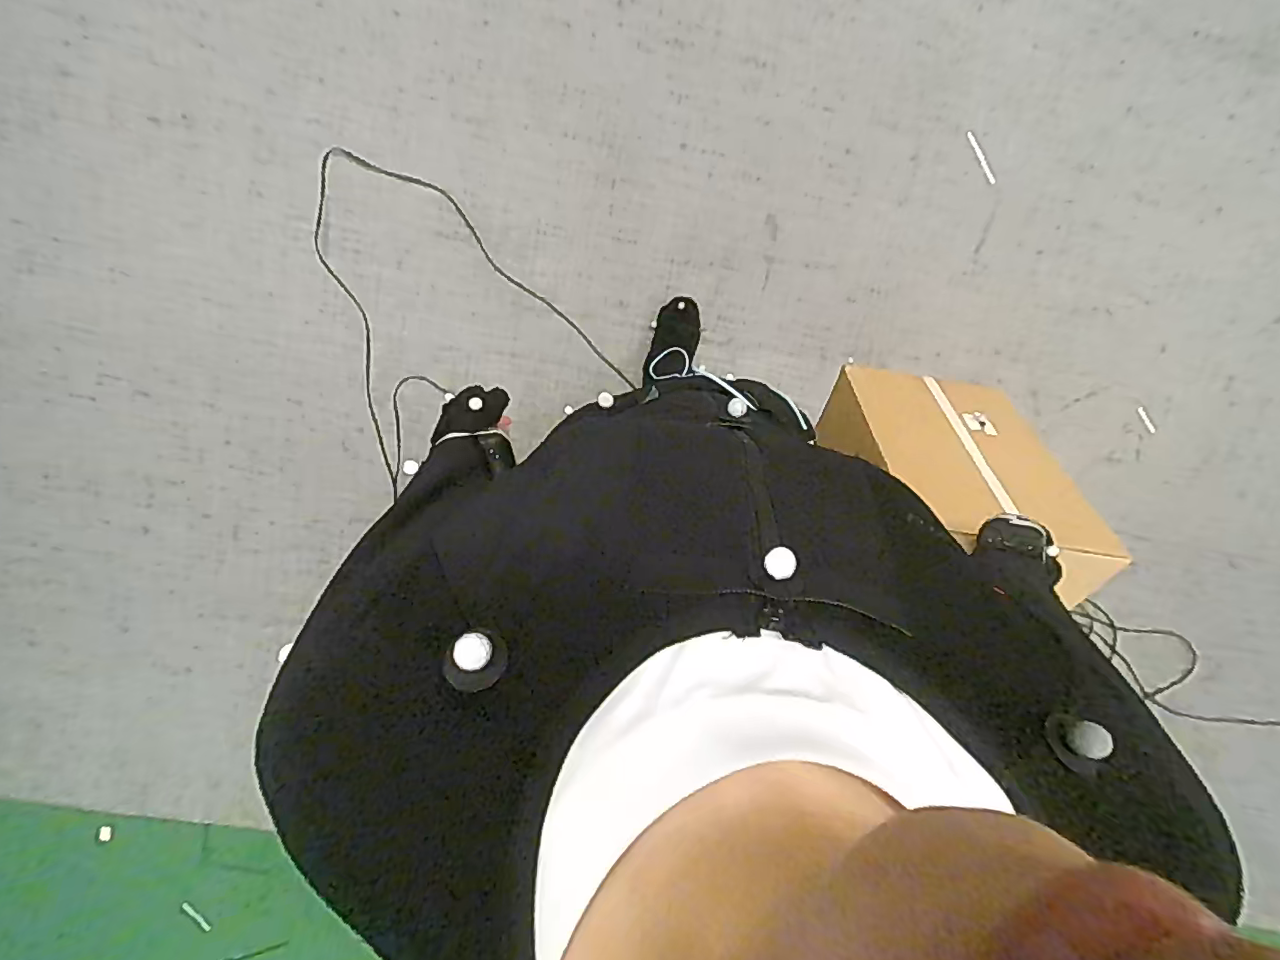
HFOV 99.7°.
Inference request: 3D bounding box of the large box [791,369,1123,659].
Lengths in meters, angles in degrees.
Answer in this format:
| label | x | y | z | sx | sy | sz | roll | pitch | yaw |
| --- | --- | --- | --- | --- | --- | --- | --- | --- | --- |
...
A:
| label | x | y | z | sx | sy | sz | roll | pitch | yaw |
| --- | --- | --- | --- | --- | --- | --- | --- | --- | --- |
| large box | 0.495 | 0.055 | 0.966 | 0.320 | 0.408 | 0.320 | 9 | 132 | -5 |
